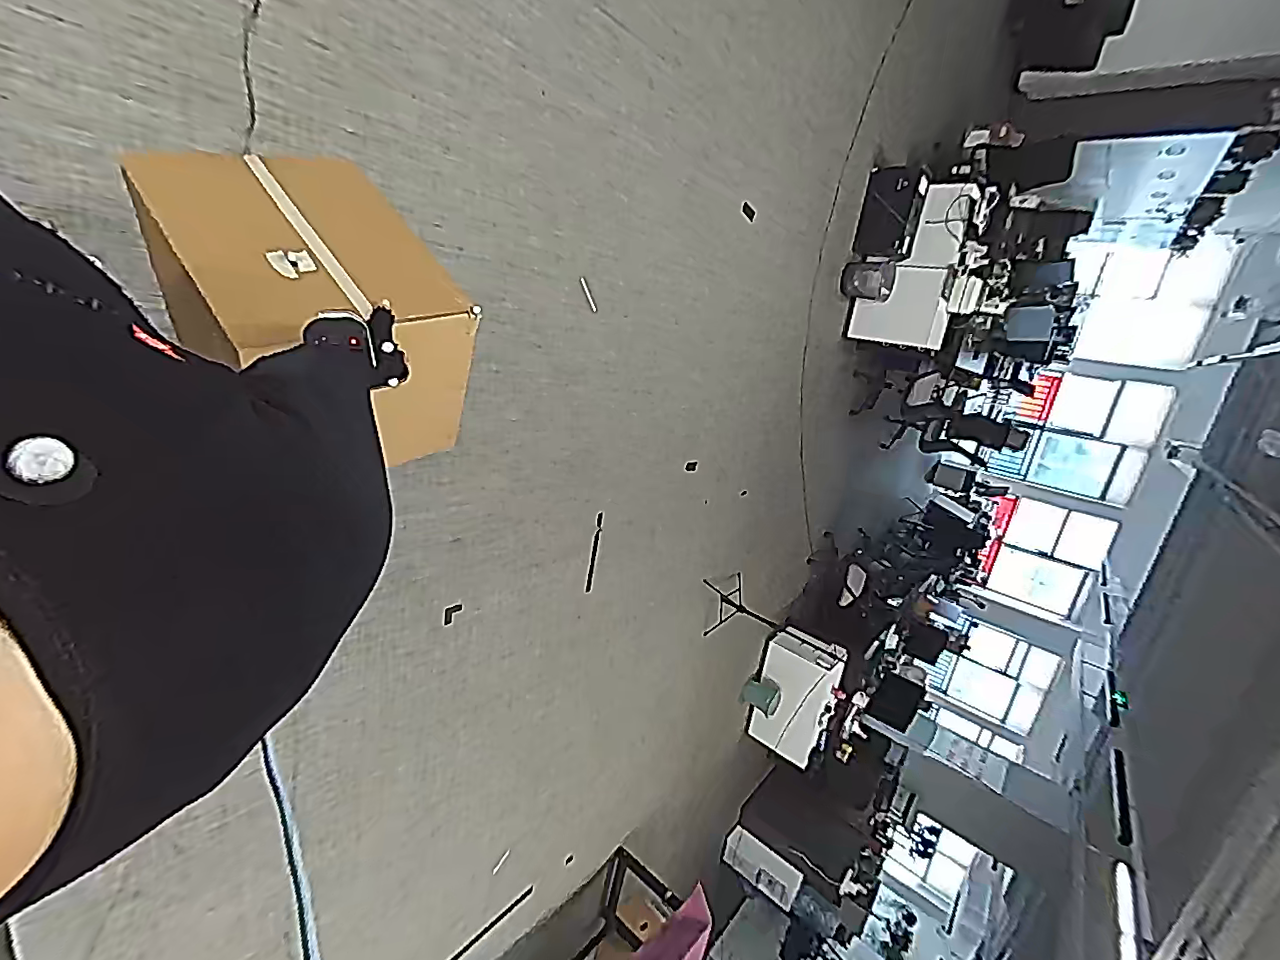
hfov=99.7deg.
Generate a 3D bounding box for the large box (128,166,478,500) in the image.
[{"bbox_3d":[-0.532,-0.246,0.888,0.320,0.408,0.320,-27,159,-39],"label":"large box"}]
